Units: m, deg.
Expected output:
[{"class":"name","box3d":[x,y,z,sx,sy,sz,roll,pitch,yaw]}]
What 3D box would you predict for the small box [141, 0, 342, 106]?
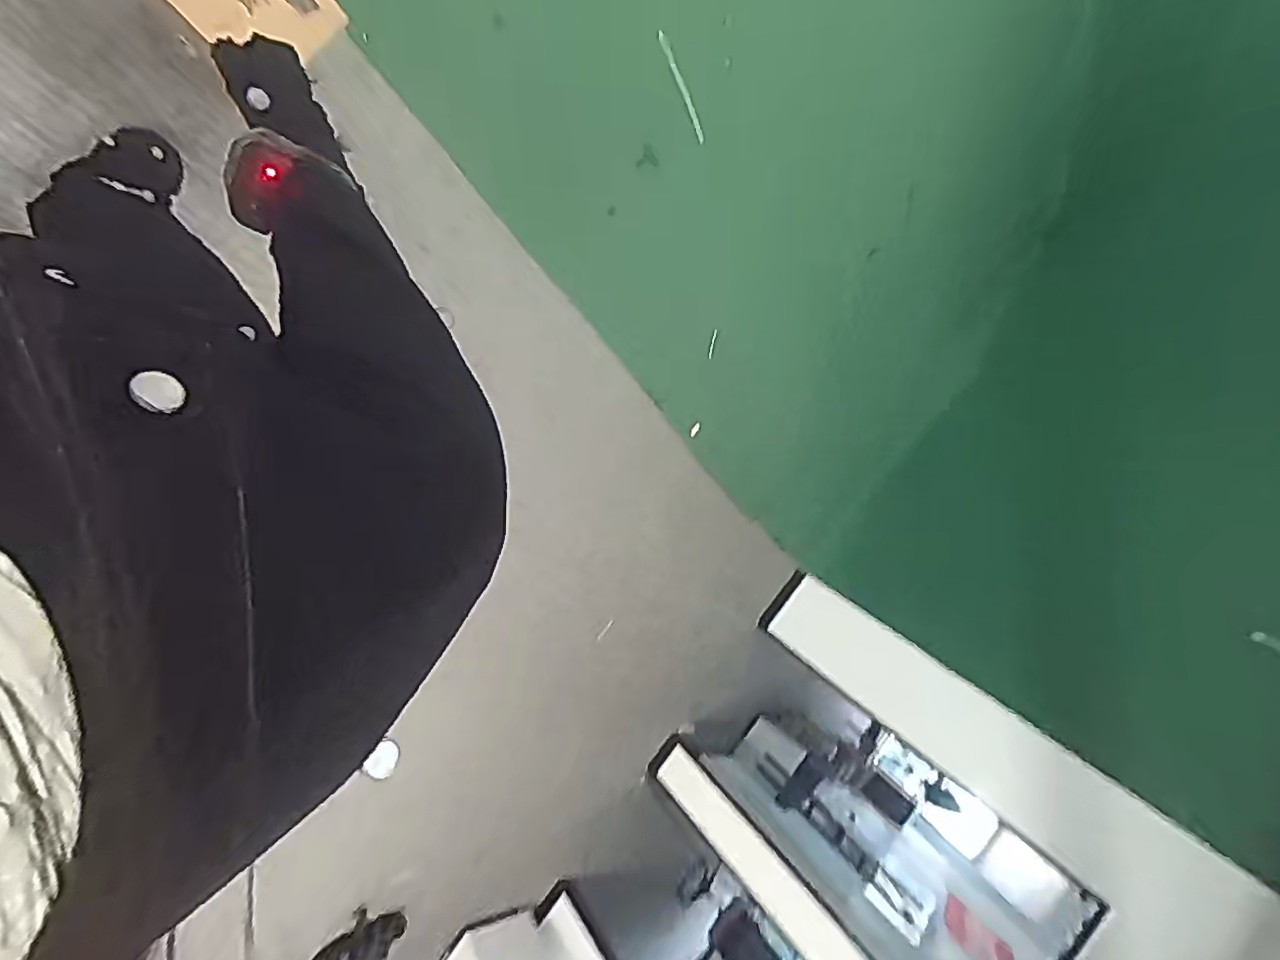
[{"class":"small box","box3d":[-0.578,-0.681,0.780,0.179,0.176,0.168,-50,139,-5]}]
